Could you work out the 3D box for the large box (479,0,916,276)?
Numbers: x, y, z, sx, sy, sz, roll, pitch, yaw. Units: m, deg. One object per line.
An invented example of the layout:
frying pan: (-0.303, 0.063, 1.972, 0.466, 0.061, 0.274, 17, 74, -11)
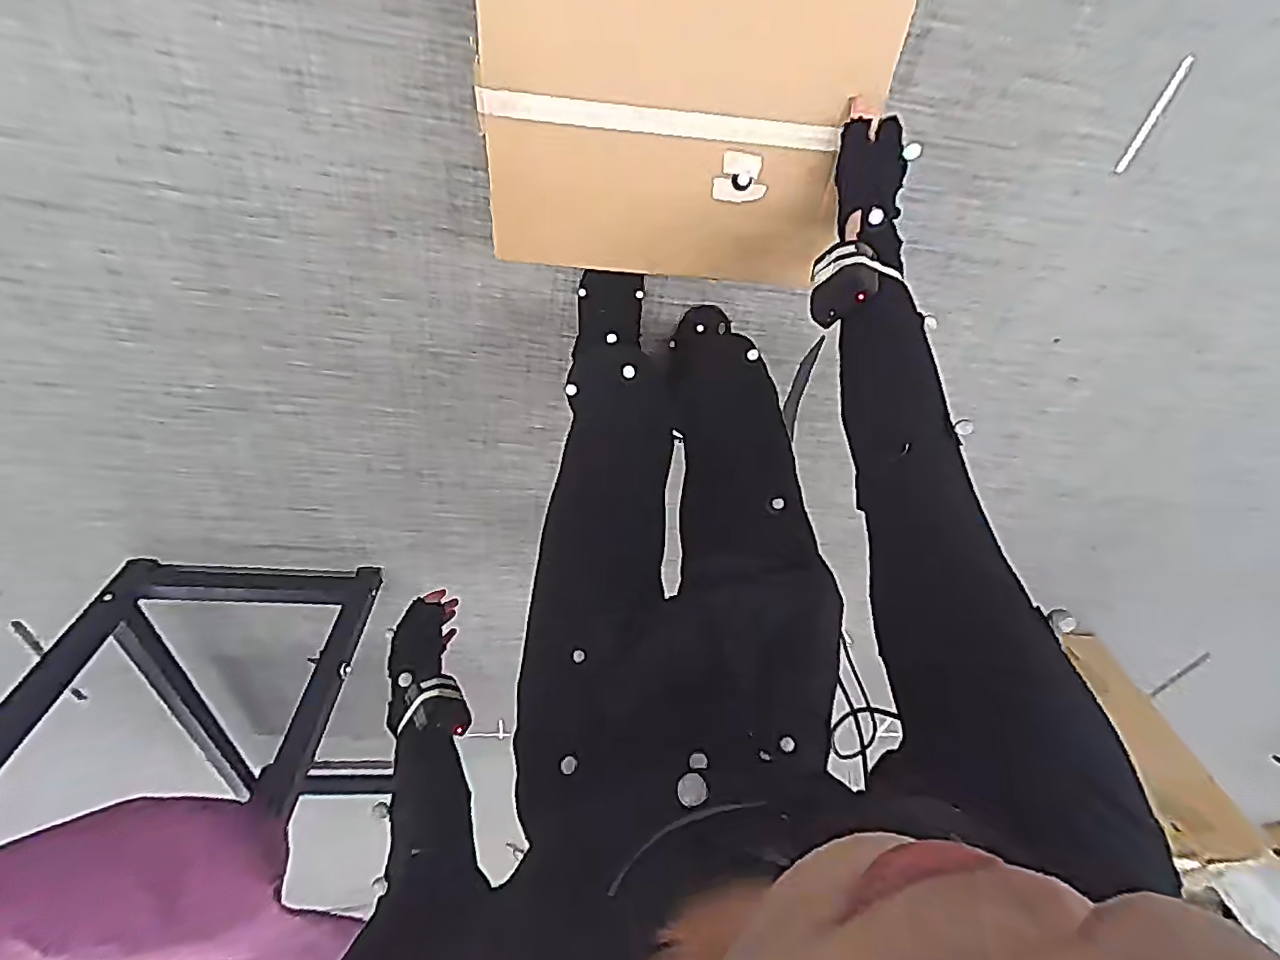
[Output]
large box: (0.038, -0.462, 0.656, 0.408, 0.320, 0.320, 2, 130, -6)
